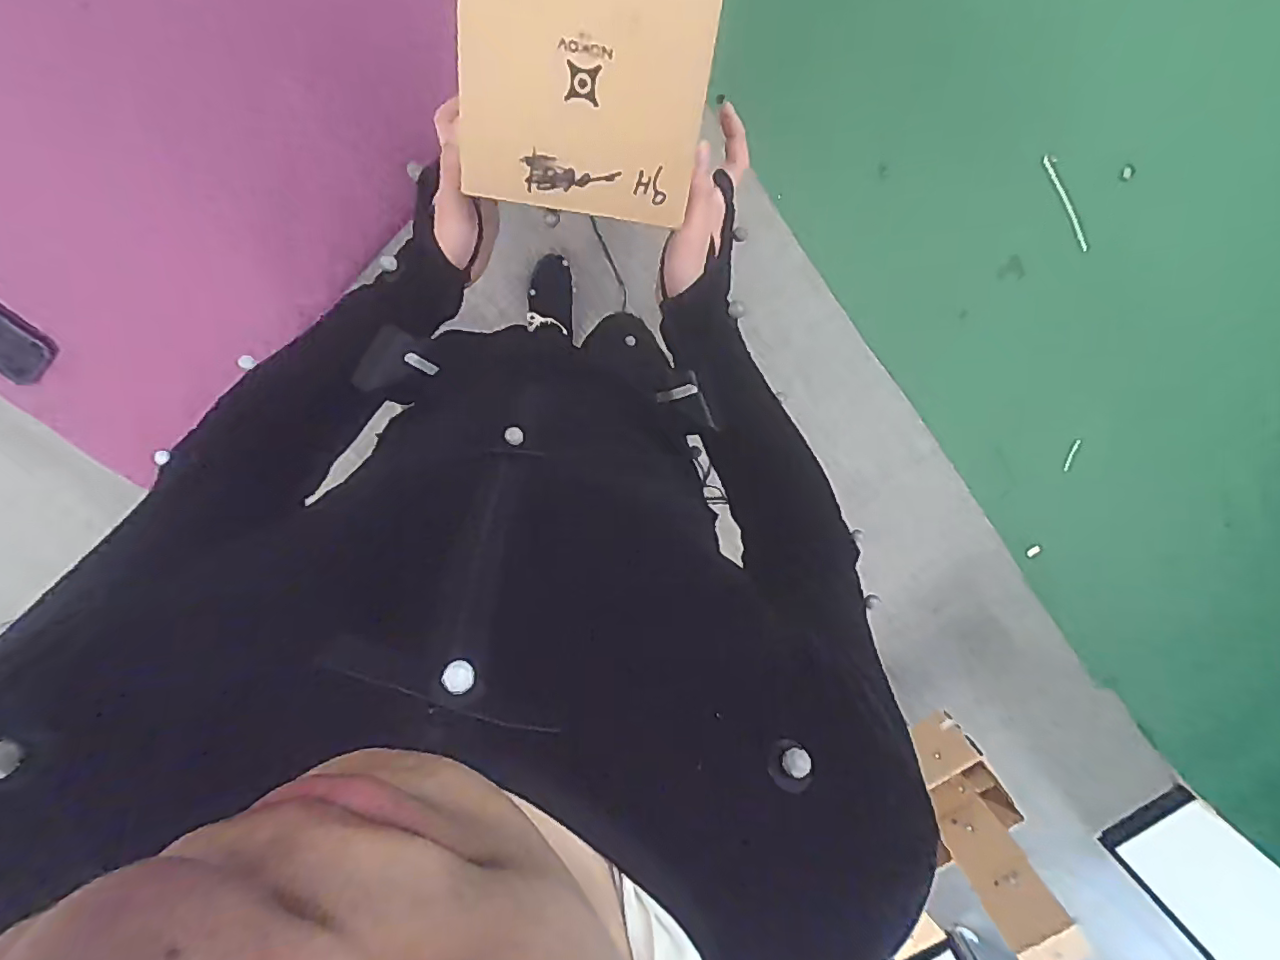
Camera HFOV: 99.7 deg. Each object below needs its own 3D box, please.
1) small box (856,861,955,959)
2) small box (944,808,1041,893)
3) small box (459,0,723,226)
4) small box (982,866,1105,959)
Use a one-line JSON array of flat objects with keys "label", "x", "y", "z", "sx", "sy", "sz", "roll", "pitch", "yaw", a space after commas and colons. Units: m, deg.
[{"label": "small box", "x": 0.764, "y": 1.254, "z": 1.573, "sx": 0.168, "sy": 0.176, "sz": 0.179, "roll": -35, "pitch": 111, "yaw": 9}, {"label": "small box", "x": 1.007, "y": 1.075, "z": 1.526, "sx": 0.168, "sy": 0.176, "sz": 0.179, "roll": -35, "pitch": 111, "yaw": 7}, {"label": "small box", "x": -0.038, "y": -0.312, "z": 0.423, "sx": 0.168, "sy": 0.176, "sz": 0.179, "roll": 7, "pitch": 120, "yaw": -5}, {"label": "small box", "x": 1.021, "y": 1.135, "z": 1.375, "sx": 0.168, "sy": 0.176, "sz": 0.179, "roll": -36, "pitch": 111, "yaw": 7}]
